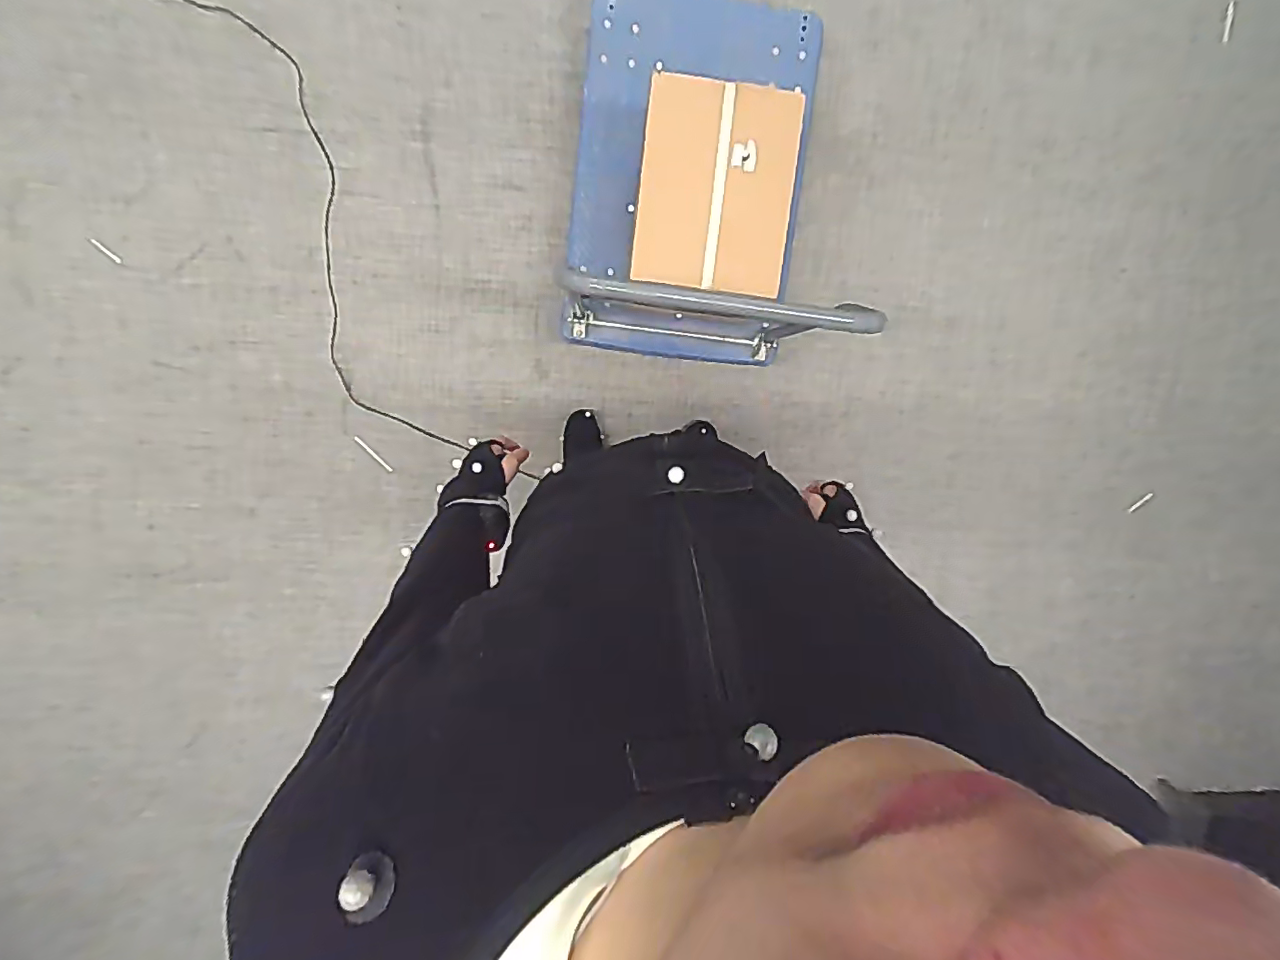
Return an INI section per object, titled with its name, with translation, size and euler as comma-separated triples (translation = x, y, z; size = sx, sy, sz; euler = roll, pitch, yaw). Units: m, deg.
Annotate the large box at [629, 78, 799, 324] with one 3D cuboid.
[large box]
translation = 0.145, -0.600, 1.244
size = 0.320, 0.320, 0.408
euler = 6, 95, -5
